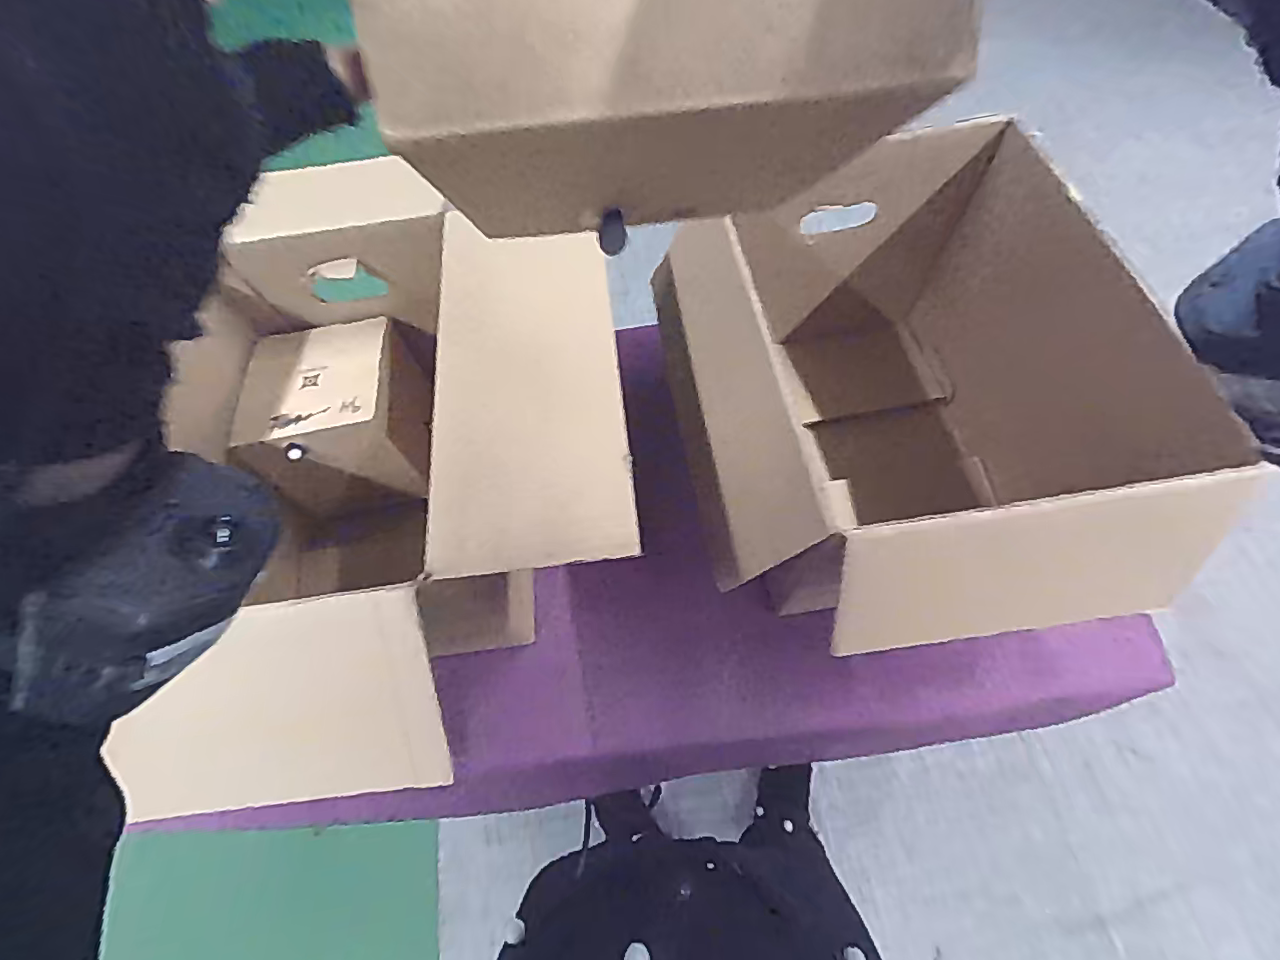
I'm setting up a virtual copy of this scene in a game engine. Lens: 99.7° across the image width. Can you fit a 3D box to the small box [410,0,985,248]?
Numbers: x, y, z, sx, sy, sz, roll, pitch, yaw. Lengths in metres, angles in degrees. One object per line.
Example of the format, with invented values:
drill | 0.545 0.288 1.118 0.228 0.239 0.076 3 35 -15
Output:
small box | 0.006 -0.208 0.217 0.168 0.176 0.179 -7 105 -2
